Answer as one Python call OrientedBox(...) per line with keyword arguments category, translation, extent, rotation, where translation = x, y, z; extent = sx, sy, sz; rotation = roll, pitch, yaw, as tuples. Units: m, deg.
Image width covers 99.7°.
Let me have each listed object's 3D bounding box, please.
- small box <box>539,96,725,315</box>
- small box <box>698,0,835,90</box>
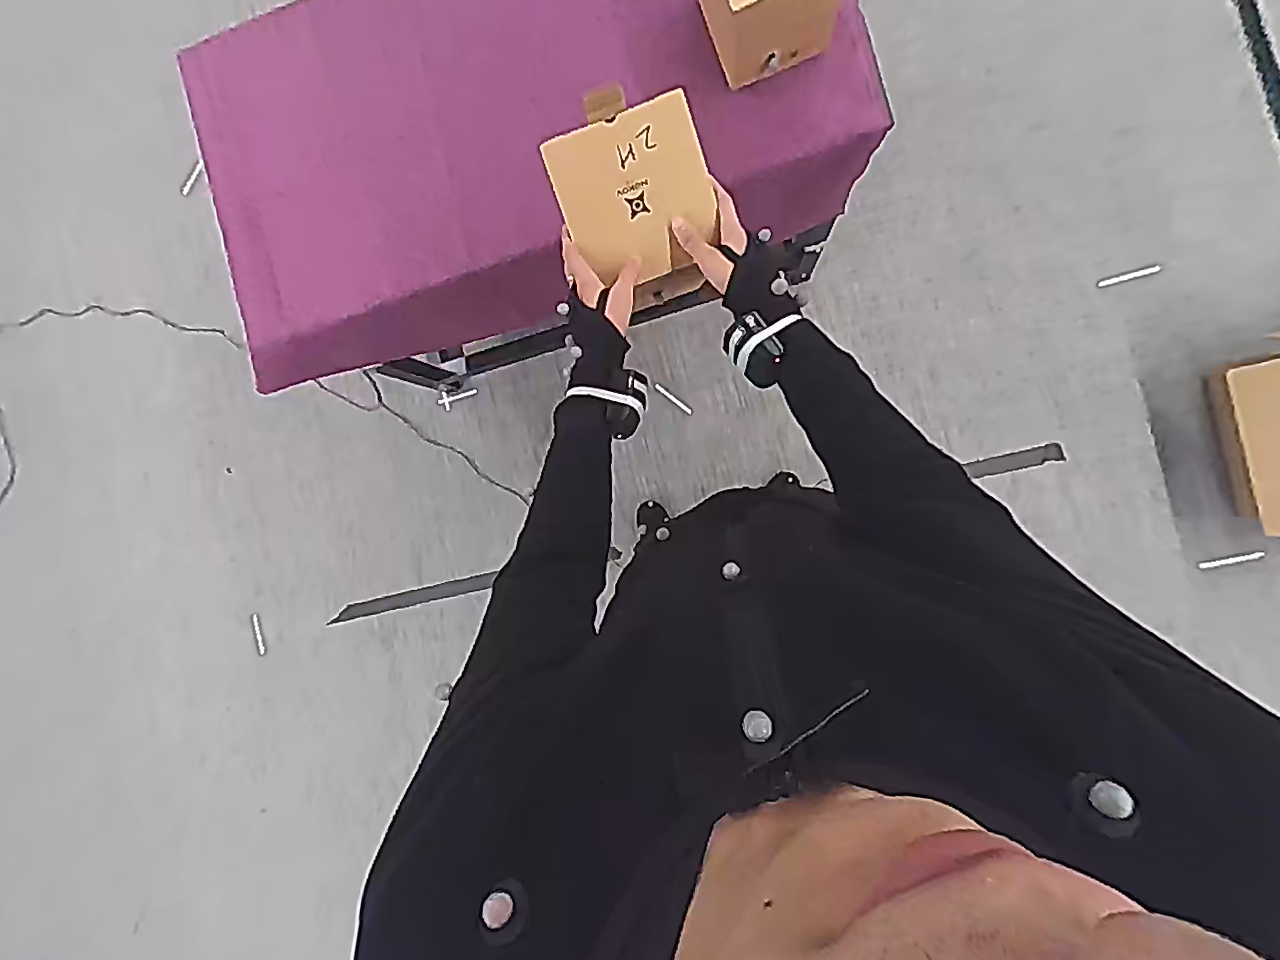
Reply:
OrientedBox(category="small box", translation=(-0.004, -0.317, 0.674), extent=(0.168, 0.176, 0.179), rotation=(-19, 97, 4))
OrientedBox(category="small box", translation=(0.183, -0.747, 0.811), extent=(0.168, 0.176, 0.179), rotation=(-19, 87, 9))
